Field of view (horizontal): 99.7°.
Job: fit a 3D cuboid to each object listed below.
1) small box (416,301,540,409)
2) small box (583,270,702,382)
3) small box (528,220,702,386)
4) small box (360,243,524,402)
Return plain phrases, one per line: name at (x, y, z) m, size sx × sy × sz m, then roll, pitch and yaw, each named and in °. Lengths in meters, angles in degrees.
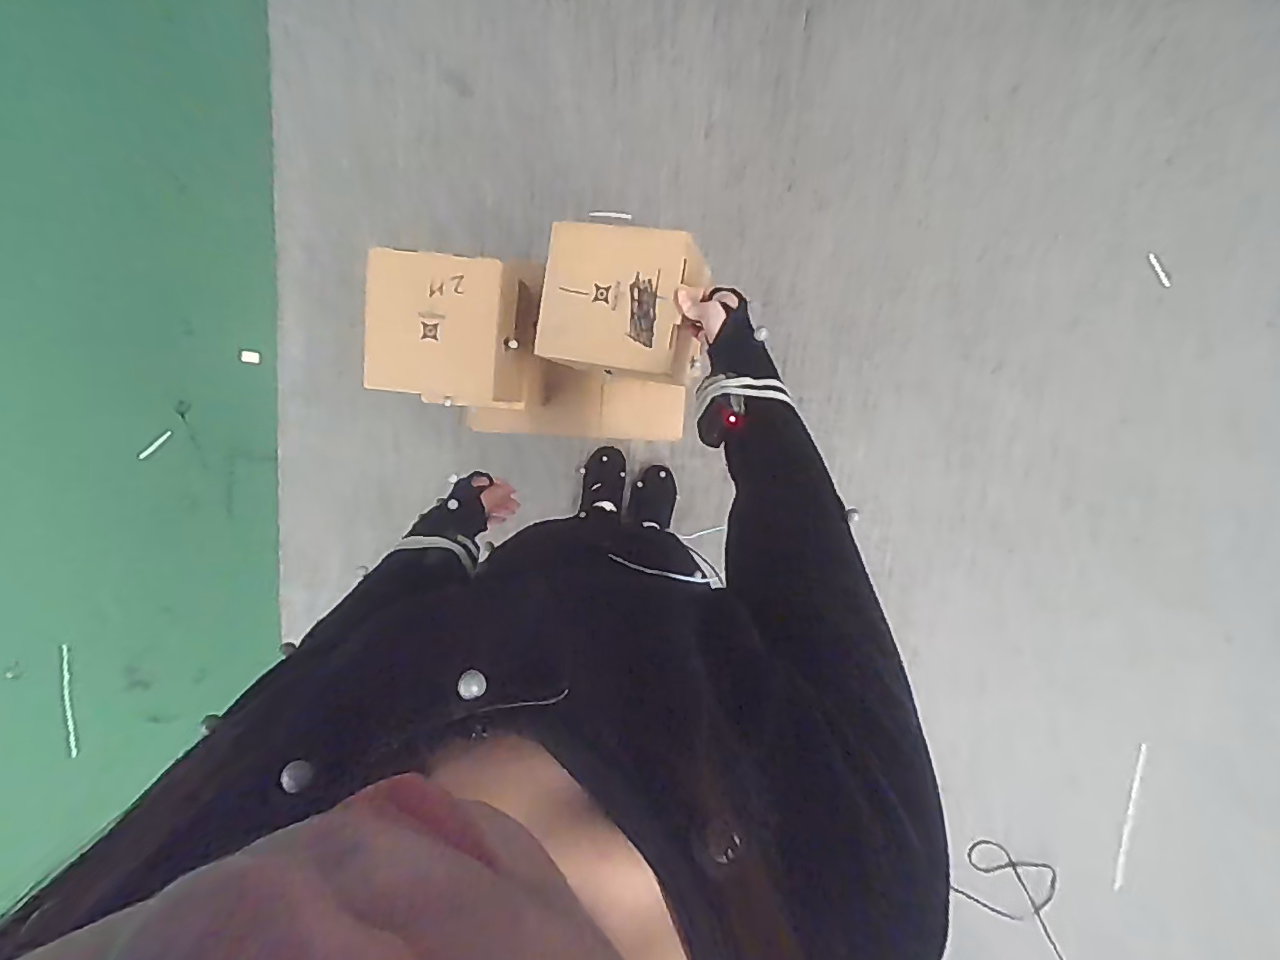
small box at (-0.263, -0.216, 0.913) m, size 0.168 × 0.176 × 0.179 m, roll 5°, pitch 98°, yaw -1°
small box at (0.005, -0.253, 0.906) m, size 0.179 × 0.176 × 0.168 m, roll 4°, pitch 97°, yaw 2°
small box at (-0.023, -0.225, 0.726) m, size 0.179 × 0.176 × 0.168 m, roll 13°, pitch 97°, yaw 14°
small box at (-0.263, -0.206, 0.749) m, size 0.168 × 0.176 × 0.179 m, roll 7°, pitch 98°, yaw -2°
